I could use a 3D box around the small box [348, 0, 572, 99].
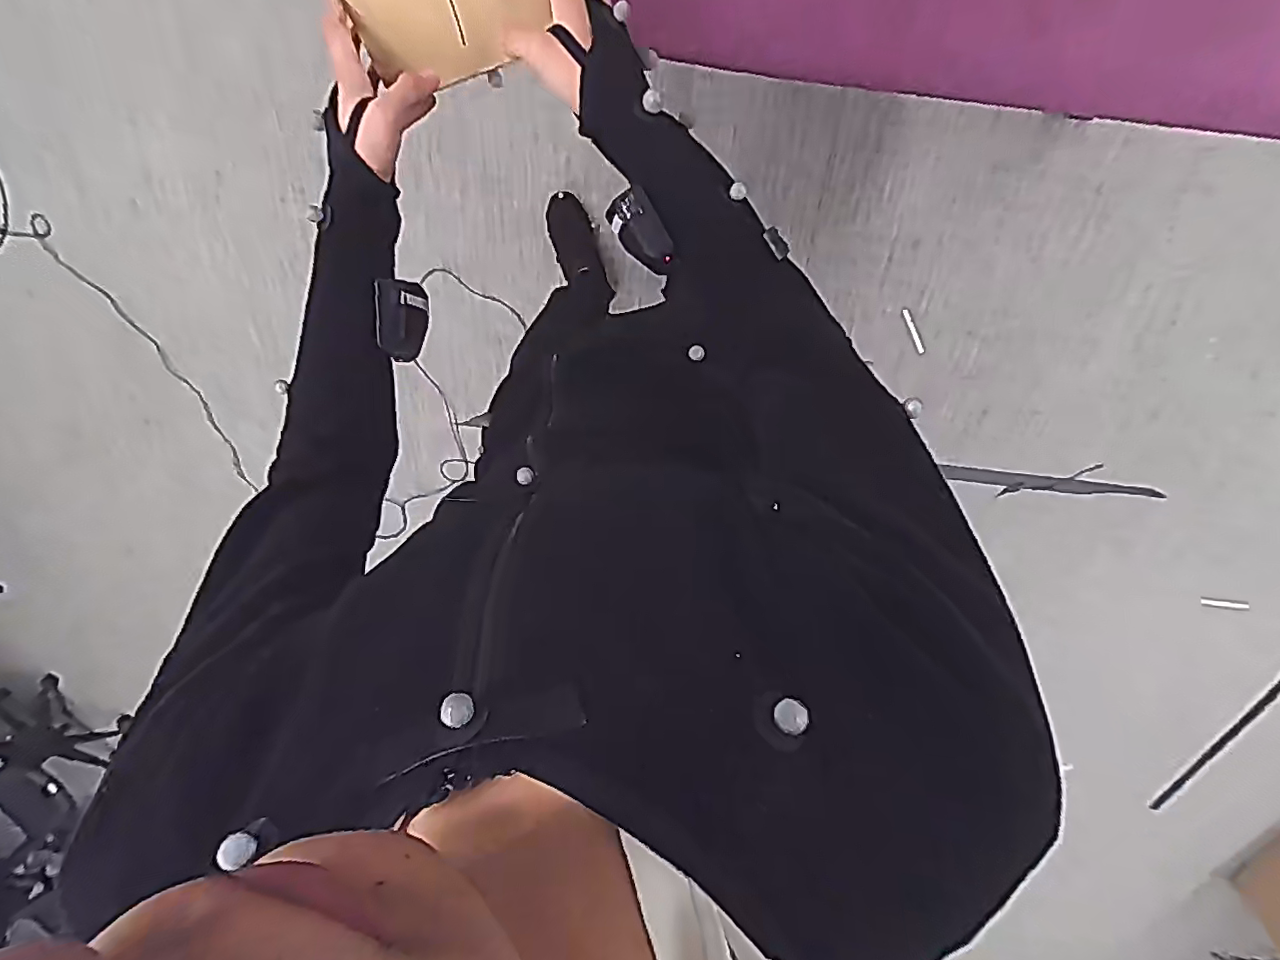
[{"bbox_3d":[-0.164,-0.464,0.470,0.168,0.176,0.179,-14,131,7],"label":"small box"}]
